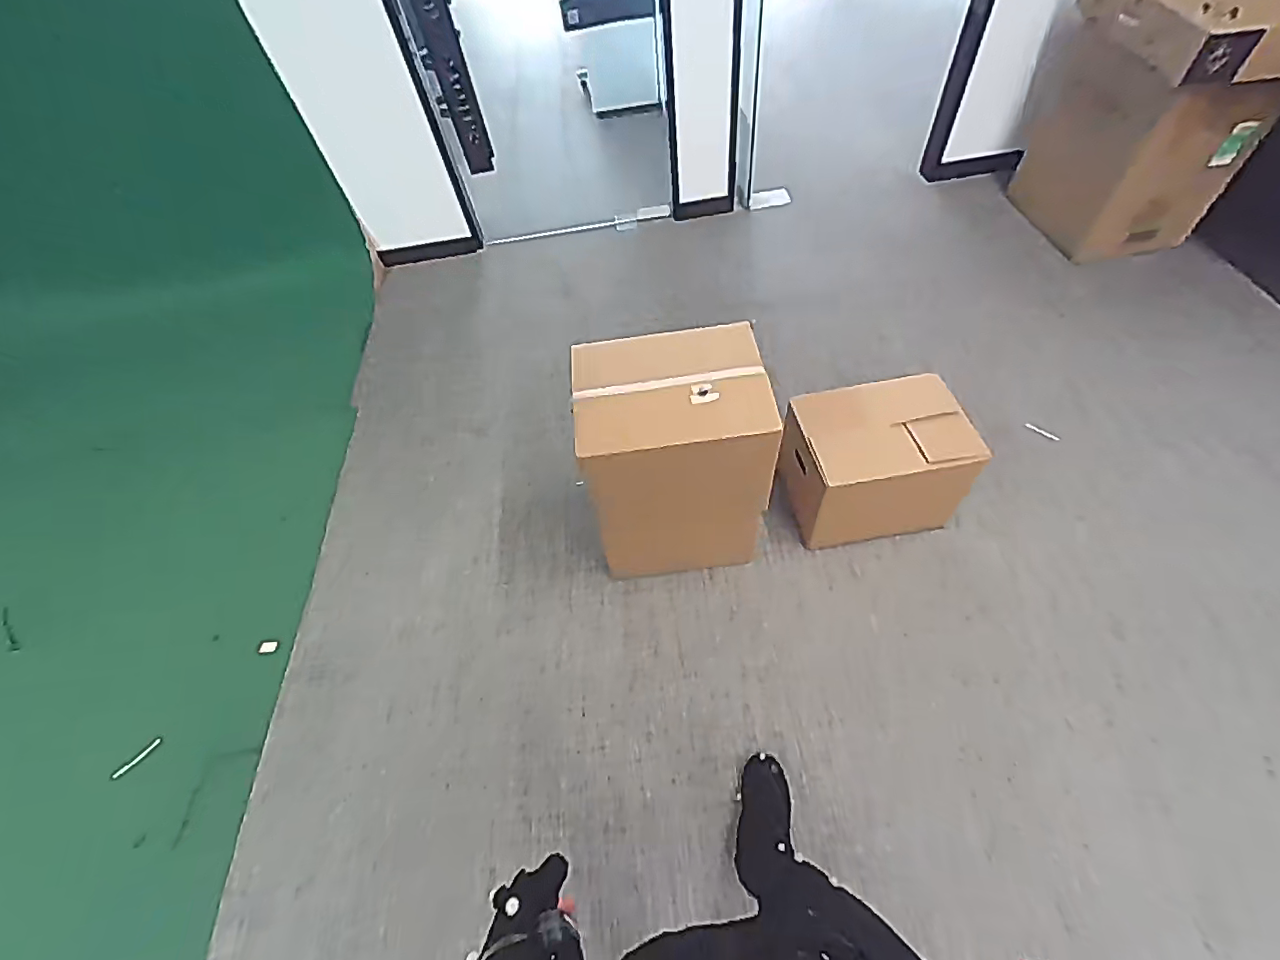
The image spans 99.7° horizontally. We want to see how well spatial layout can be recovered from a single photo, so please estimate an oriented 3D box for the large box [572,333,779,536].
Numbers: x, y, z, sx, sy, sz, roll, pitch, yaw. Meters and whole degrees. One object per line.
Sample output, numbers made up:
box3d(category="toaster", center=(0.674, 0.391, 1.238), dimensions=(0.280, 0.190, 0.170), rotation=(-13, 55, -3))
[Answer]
box3d(category="large box", center=(0.069, -0.095, 1.246), dimensions=(0.408, 0.320, 0.320), rotation=(-7, 56, 1))
